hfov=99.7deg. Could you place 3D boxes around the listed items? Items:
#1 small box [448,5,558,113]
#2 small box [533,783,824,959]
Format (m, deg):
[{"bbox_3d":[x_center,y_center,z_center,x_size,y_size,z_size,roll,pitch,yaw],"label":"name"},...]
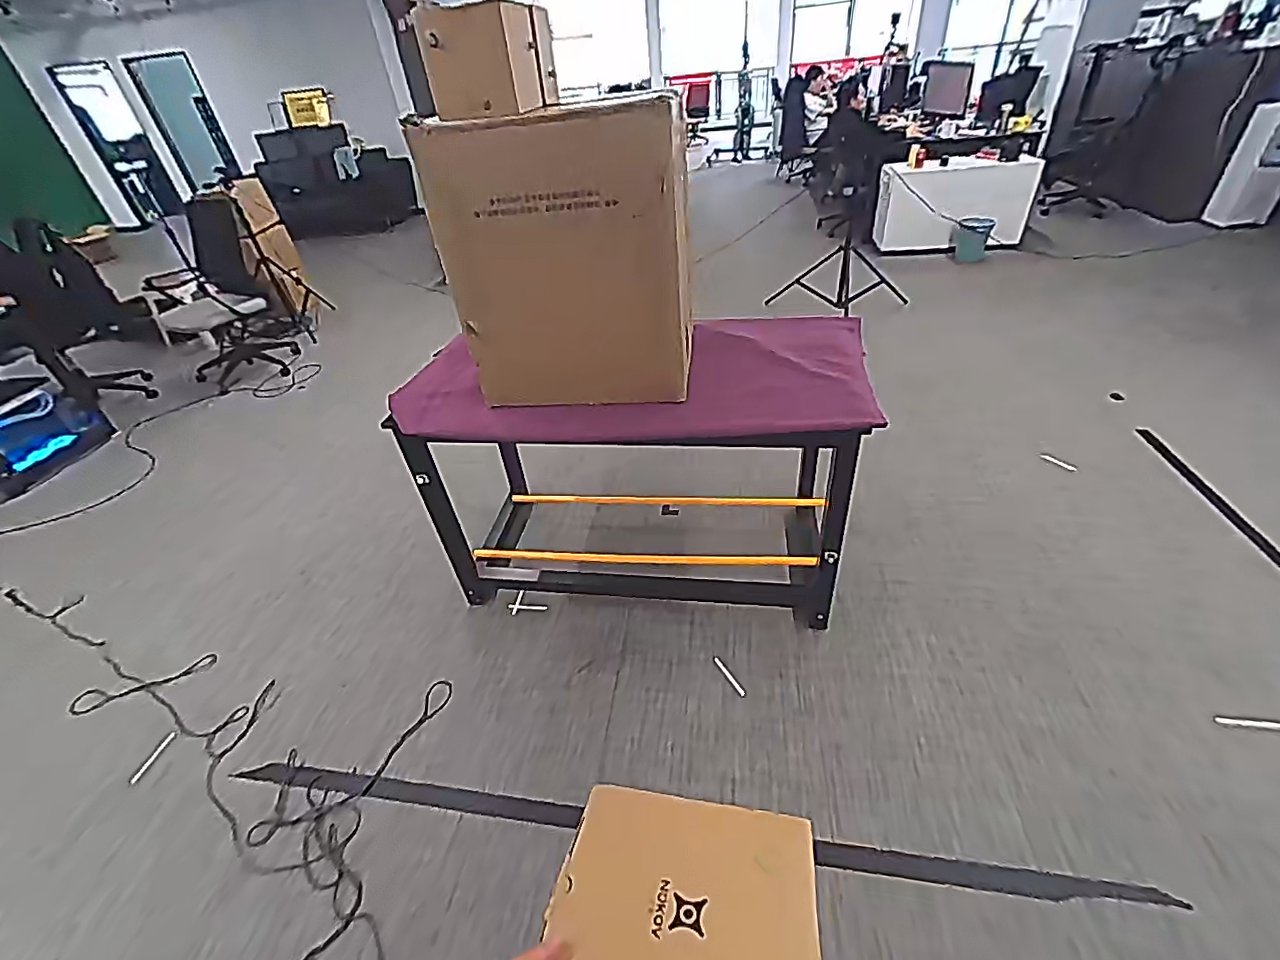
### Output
[{"bbox_3d":[-0.291,-0.918,1.190,0.179,0.176,0.168,-1,38,5],"label":"small box"},{"bbox_3d":[0.032,0.356,0.379,0.179,0.176,0.168,1,21,13],"label":"small box"}]
